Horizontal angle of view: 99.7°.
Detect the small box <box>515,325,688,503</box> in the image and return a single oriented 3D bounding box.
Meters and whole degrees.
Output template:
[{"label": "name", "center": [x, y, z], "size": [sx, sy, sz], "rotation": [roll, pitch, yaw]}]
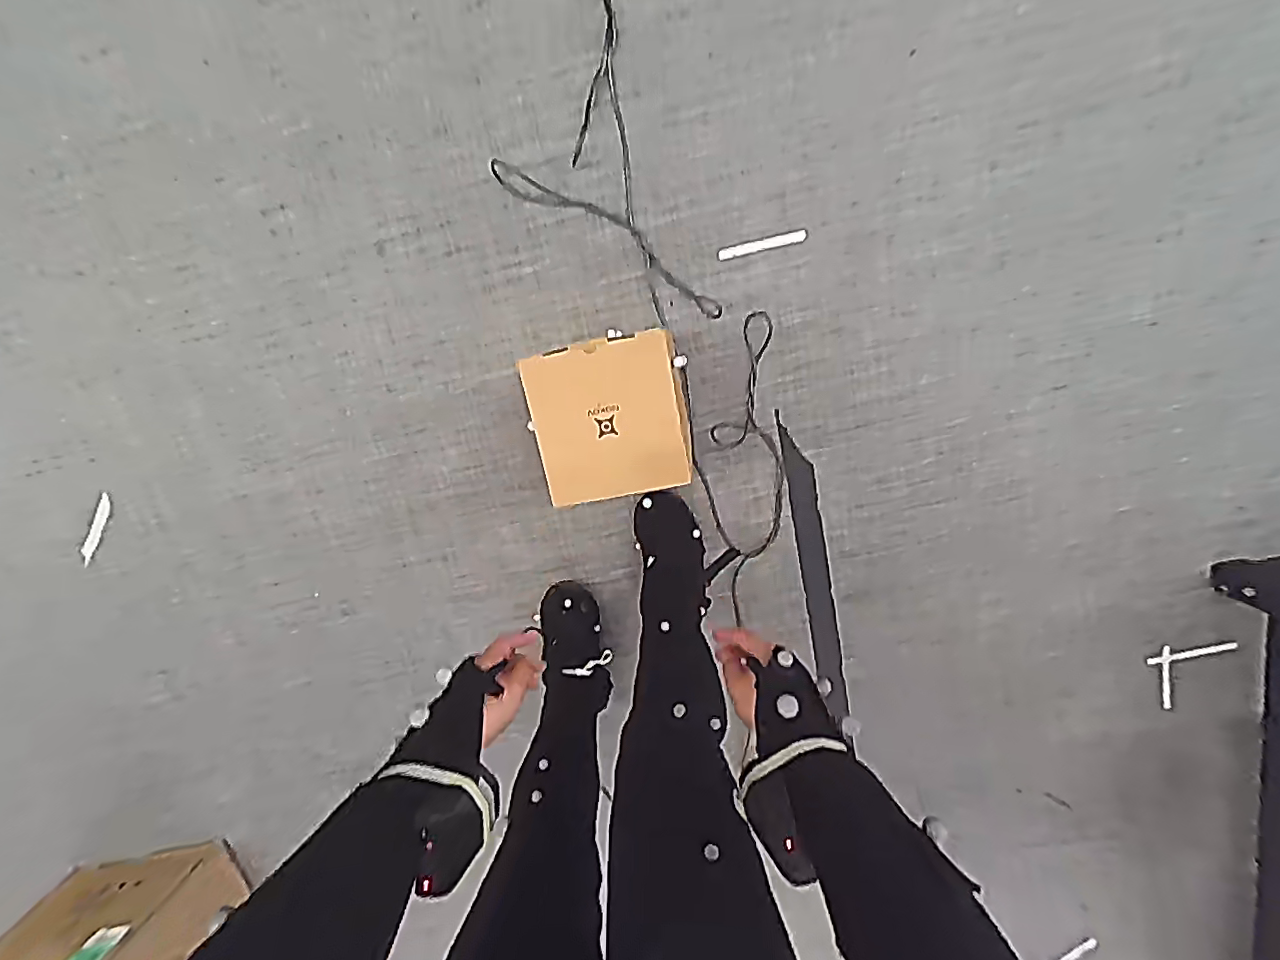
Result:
[{"label": "small box", "center": [-0.033, -0.088, 0.672], "size": [0.168, 0.176, 0.179], "rotation": [-11, 103, 7]}]
